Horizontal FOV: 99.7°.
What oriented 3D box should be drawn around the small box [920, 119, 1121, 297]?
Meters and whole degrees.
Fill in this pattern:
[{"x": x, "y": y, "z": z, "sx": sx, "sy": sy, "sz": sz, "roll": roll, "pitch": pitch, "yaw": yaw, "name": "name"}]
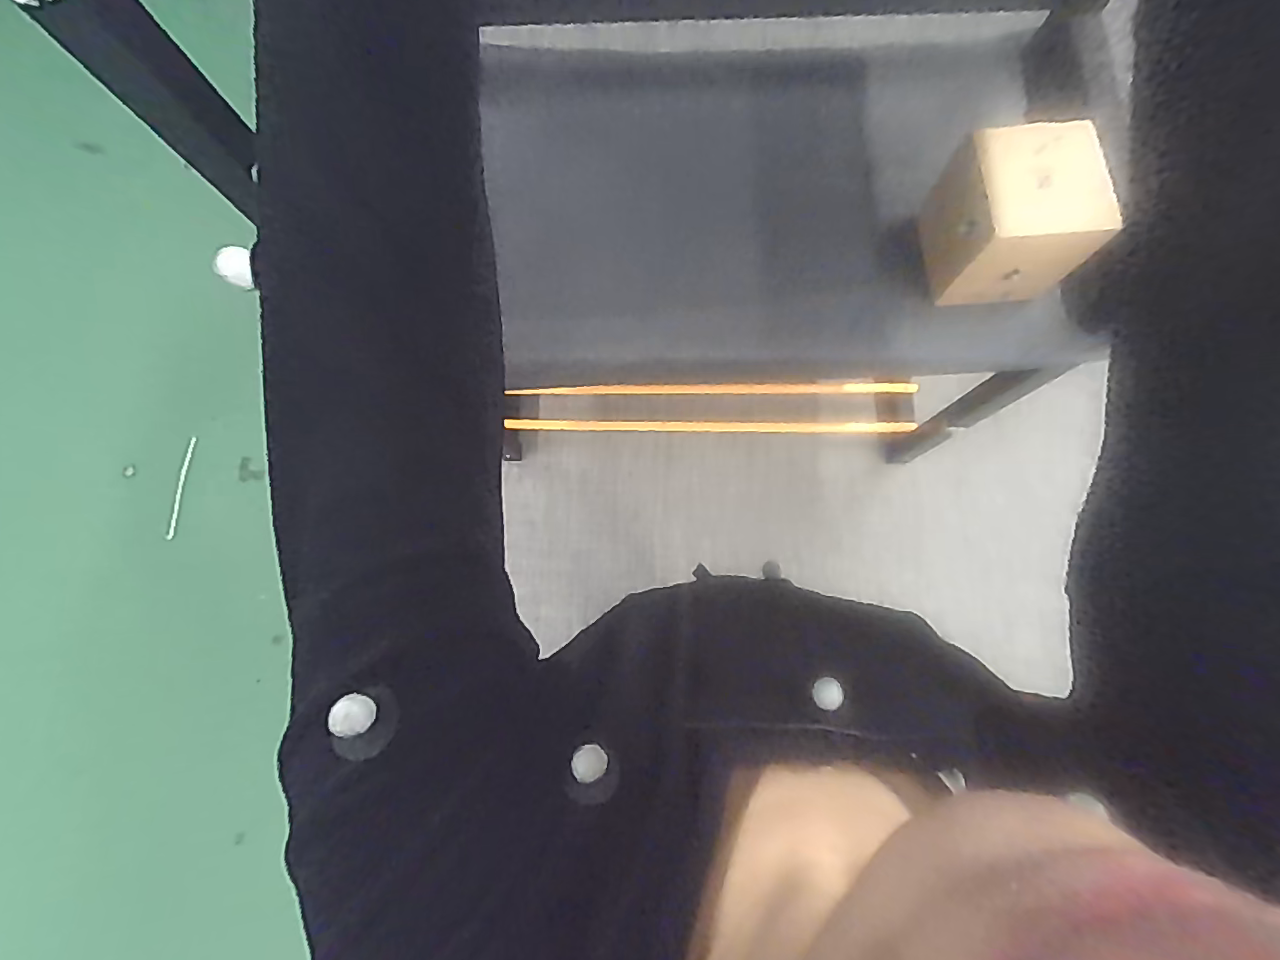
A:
[{"x": 0.545, "y": -0.388, "z": 0.801, "sx": 0.168, "sy": 0.176, "sz": 0.179, "roll": -3, "pitch": 76, "yaw": 1, "name": "small box"}]
